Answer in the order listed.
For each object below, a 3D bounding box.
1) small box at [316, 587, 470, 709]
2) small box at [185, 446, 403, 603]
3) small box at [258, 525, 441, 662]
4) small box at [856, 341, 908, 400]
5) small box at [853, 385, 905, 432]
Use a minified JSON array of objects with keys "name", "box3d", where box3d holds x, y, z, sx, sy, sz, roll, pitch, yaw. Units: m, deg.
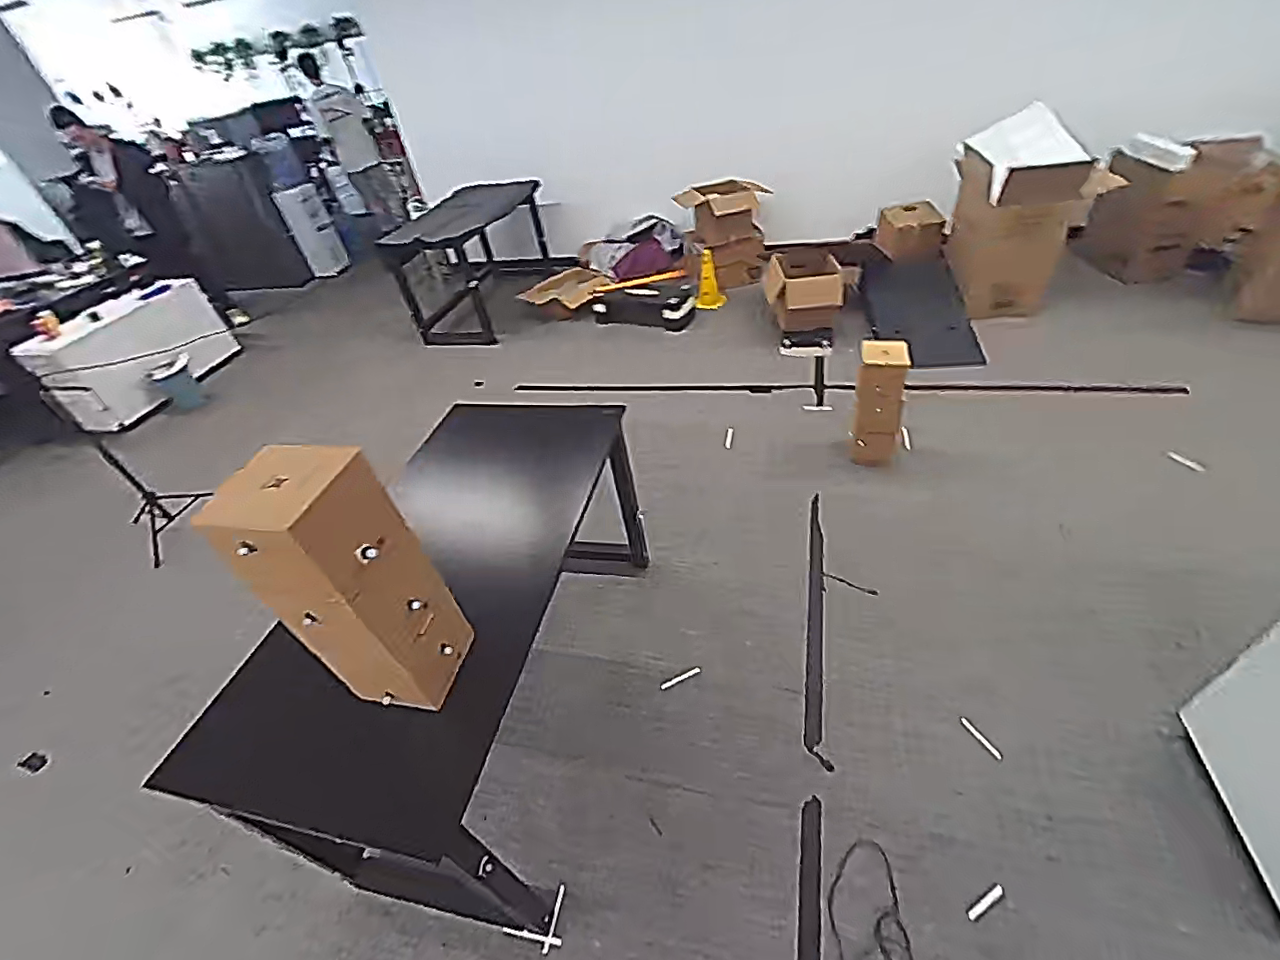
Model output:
[{"name":"small box","box3d":[-0.448,0.310,1.017,0.179,0.176,0.168,2,42,13]},{"name":"small box","box3d":[-0.496,0.066,0.804,0.179,0.176,0.168,2,44,14]},{"name":"small box","box3d":[-0.473,0.187,0.910,0.179,0.176,0.168,2,43,14]},{"name":"small box","box3d":[0.966,-0.442,2.173,0.168,0.176,0.179,5,44,16]},{"name":"small box","box3d":[0.997,-0.316,2.272,0.179,0.176,0.168,4,43,14]}]
